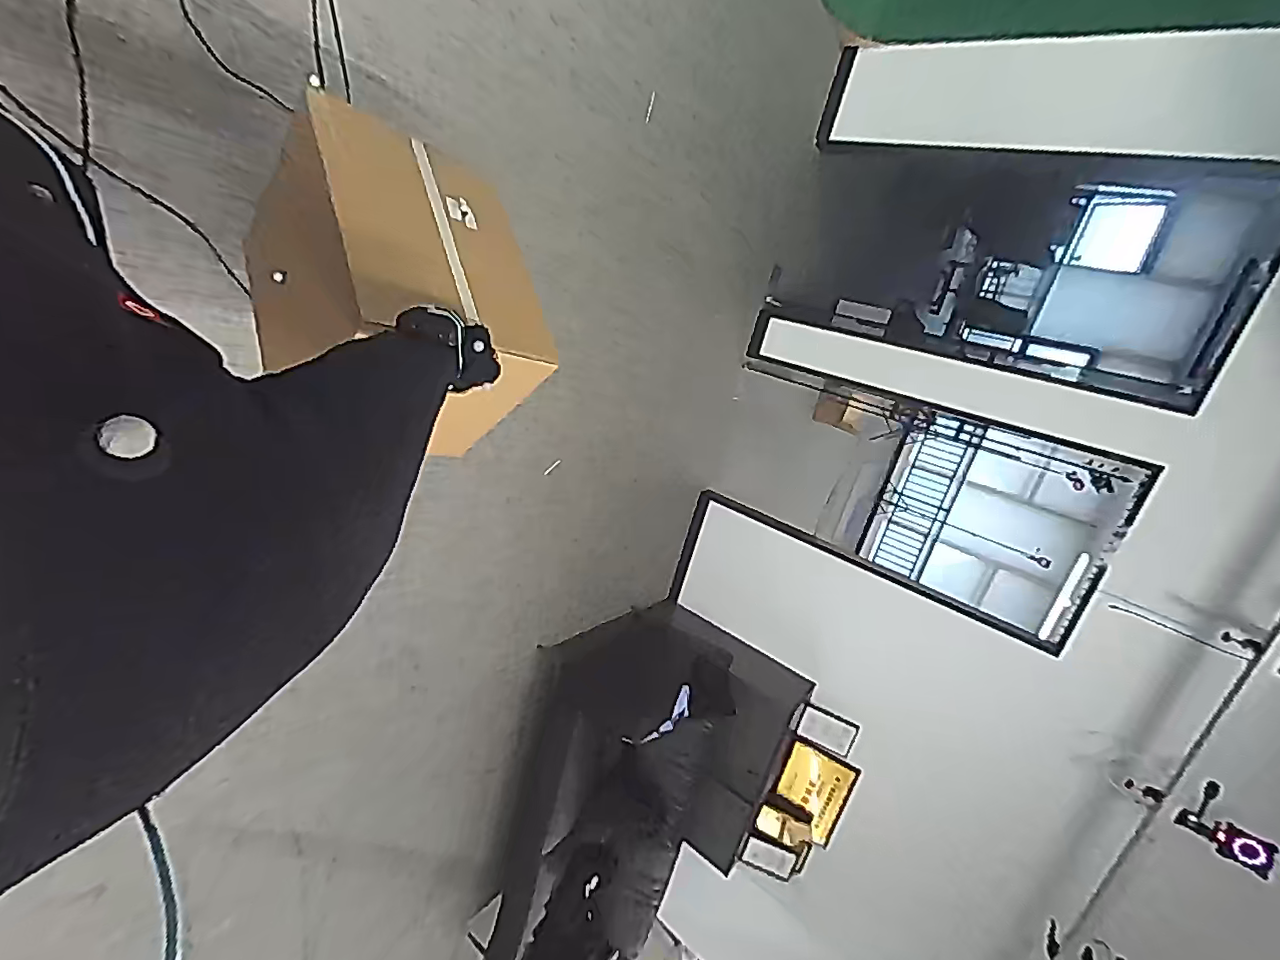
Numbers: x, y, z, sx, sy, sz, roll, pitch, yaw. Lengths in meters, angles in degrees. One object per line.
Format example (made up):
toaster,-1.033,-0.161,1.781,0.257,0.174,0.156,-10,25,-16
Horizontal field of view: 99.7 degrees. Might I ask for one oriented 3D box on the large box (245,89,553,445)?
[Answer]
large box,-0.408,-0.302,0.897,0.320,0.408,0.320,-32,161,33
